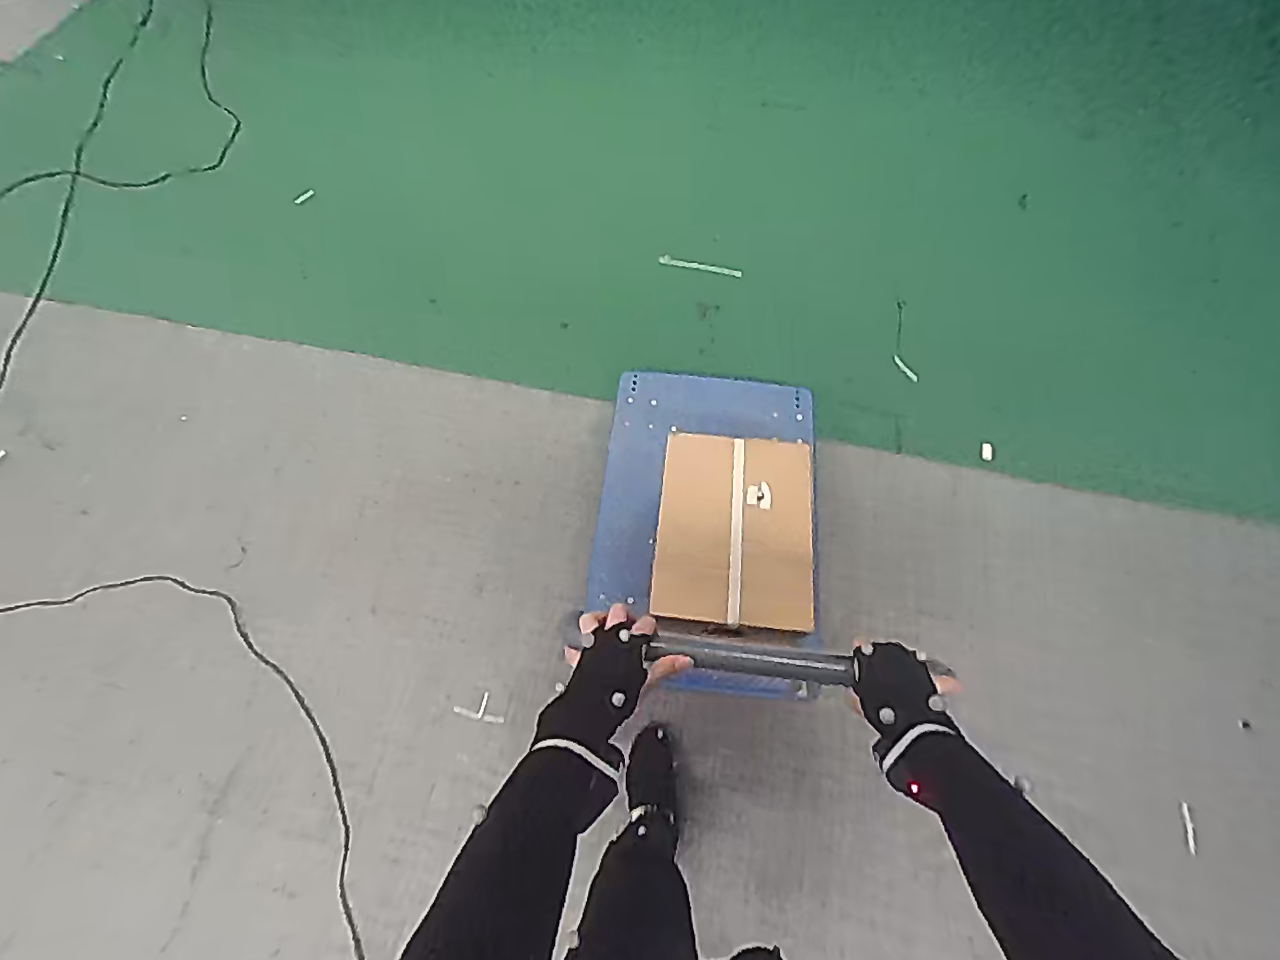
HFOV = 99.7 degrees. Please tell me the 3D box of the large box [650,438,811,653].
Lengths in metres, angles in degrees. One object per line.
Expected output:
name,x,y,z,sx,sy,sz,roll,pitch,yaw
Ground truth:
large box,0.190,0.161,1.246,0.320,0.320,0.408,6,64,1
